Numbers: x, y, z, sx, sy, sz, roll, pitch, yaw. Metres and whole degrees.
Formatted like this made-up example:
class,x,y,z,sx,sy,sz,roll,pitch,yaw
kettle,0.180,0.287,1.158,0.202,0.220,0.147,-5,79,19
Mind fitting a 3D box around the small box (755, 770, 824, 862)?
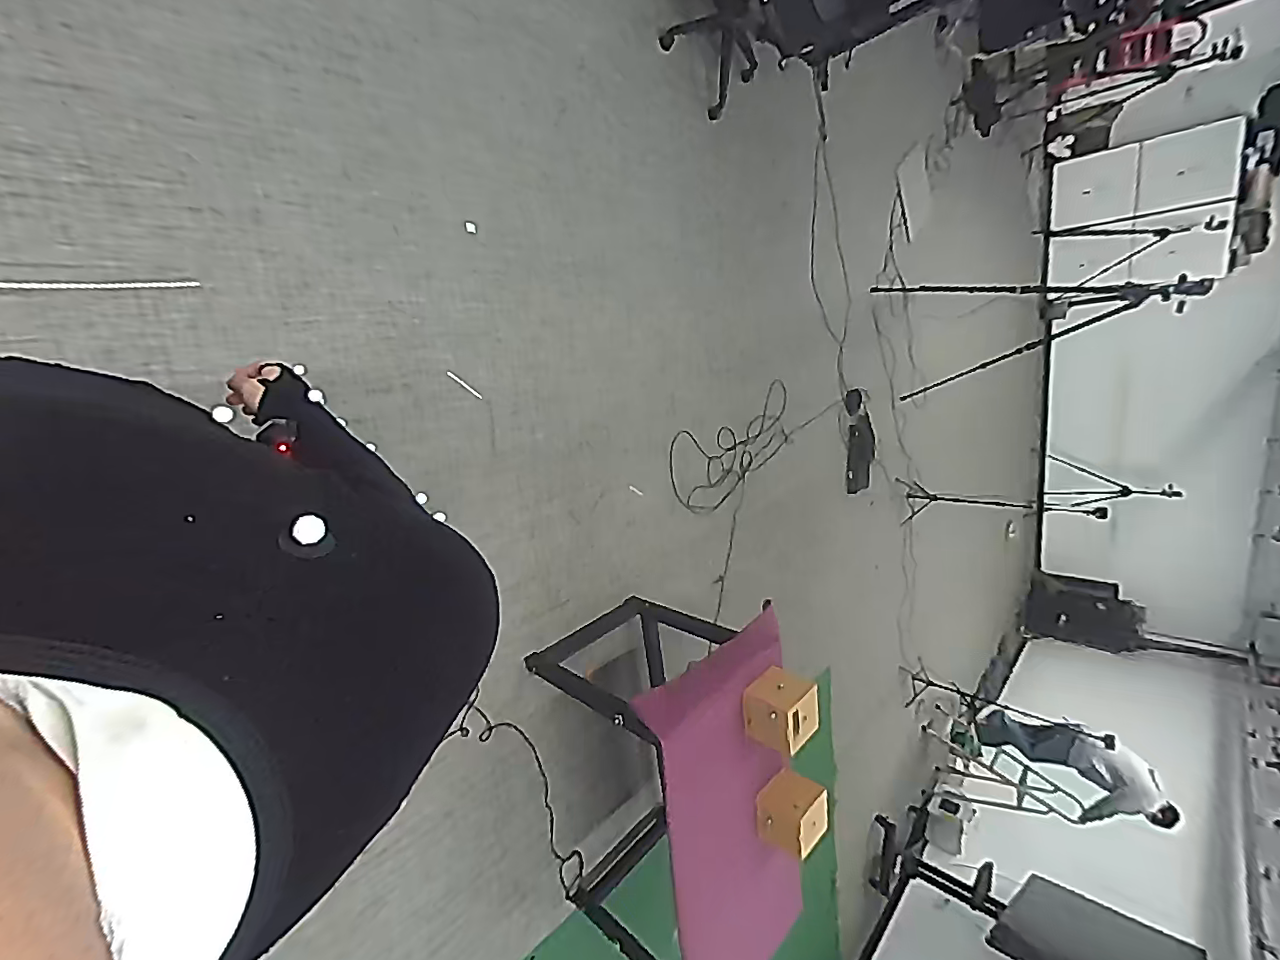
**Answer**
class,x,y,z,sx,sy,sz,roll,pitch,yaw
small box,0.514,1.141,1.857,0.179,0.176,0.168,-16,107,-40
